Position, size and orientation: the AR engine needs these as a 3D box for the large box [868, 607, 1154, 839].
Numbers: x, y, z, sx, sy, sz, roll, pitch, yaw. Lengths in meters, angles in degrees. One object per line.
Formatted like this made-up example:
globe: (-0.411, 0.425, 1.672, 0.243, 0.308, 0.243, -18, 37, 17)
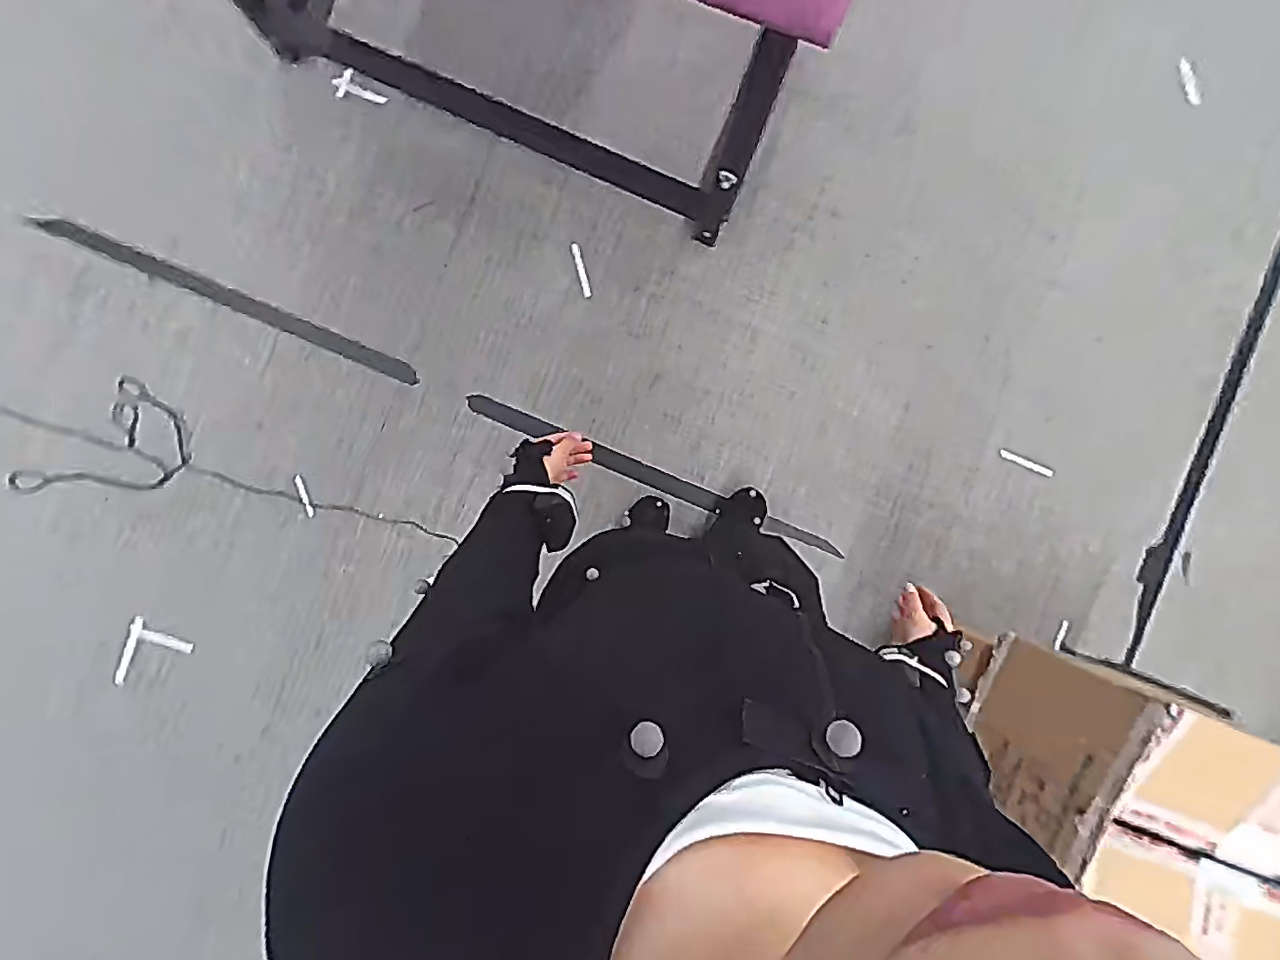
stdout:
large box: (0.836, 0.543, 1.276, 0.408, 0.320, 0.320, 21, 91, -1)
